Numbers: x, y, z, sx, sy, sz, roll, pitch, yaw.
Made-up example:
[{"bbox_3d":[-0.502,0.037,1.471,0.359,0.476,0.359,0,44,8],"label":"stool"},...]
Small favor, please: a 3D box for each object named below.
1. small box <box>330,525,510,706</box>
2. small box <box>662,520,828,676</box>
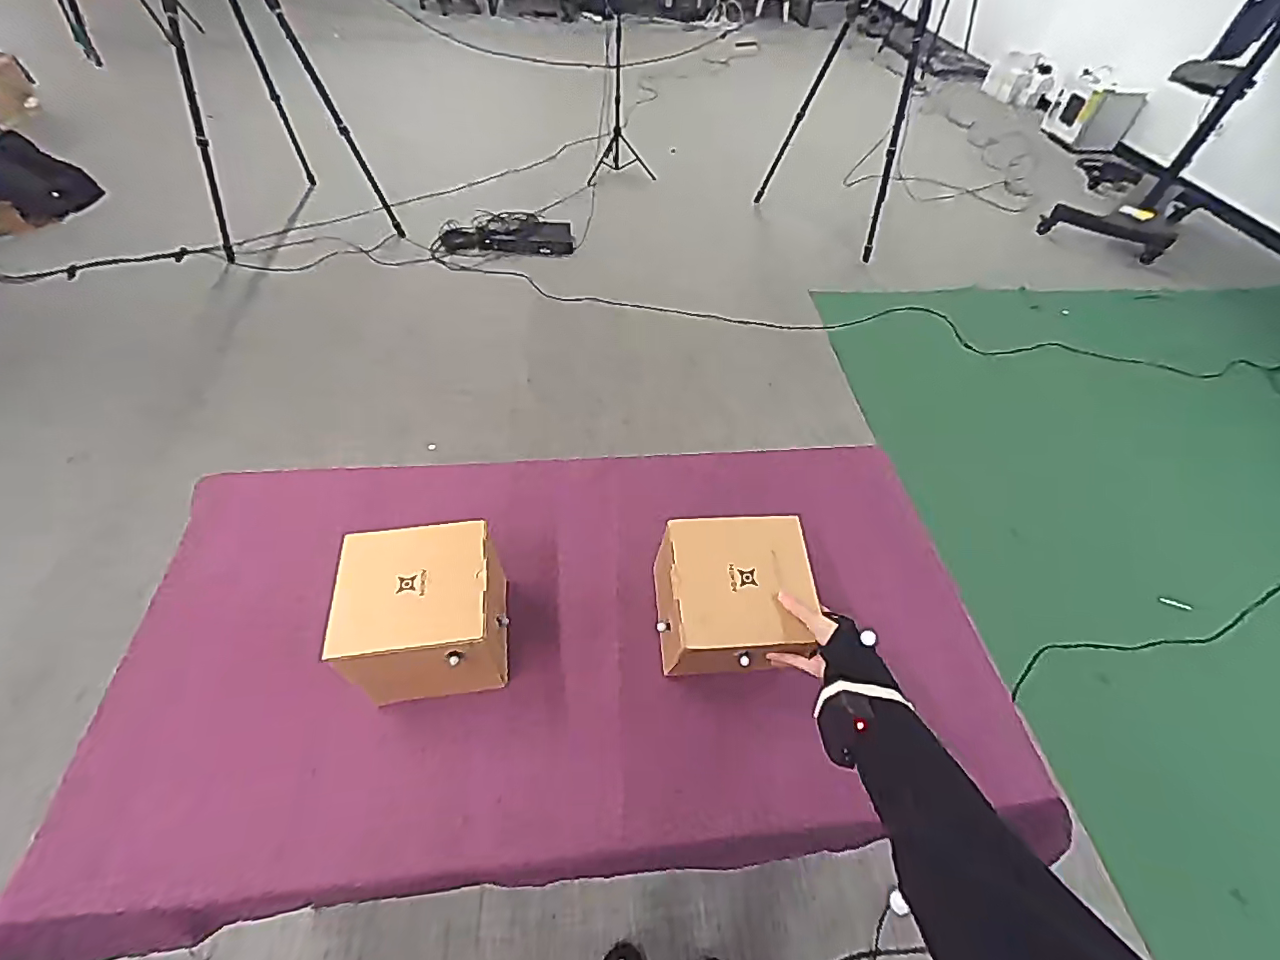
[{"bbox_3d":[-0.273,0.182,0.714,0.179,0.176,0.168,-6,51,-9],"label":"small box"},{"bbox_3d":[0.125,0.165,0.731,0.179,0.176,0.168,-1,61,-6],"label":"small box"}]
